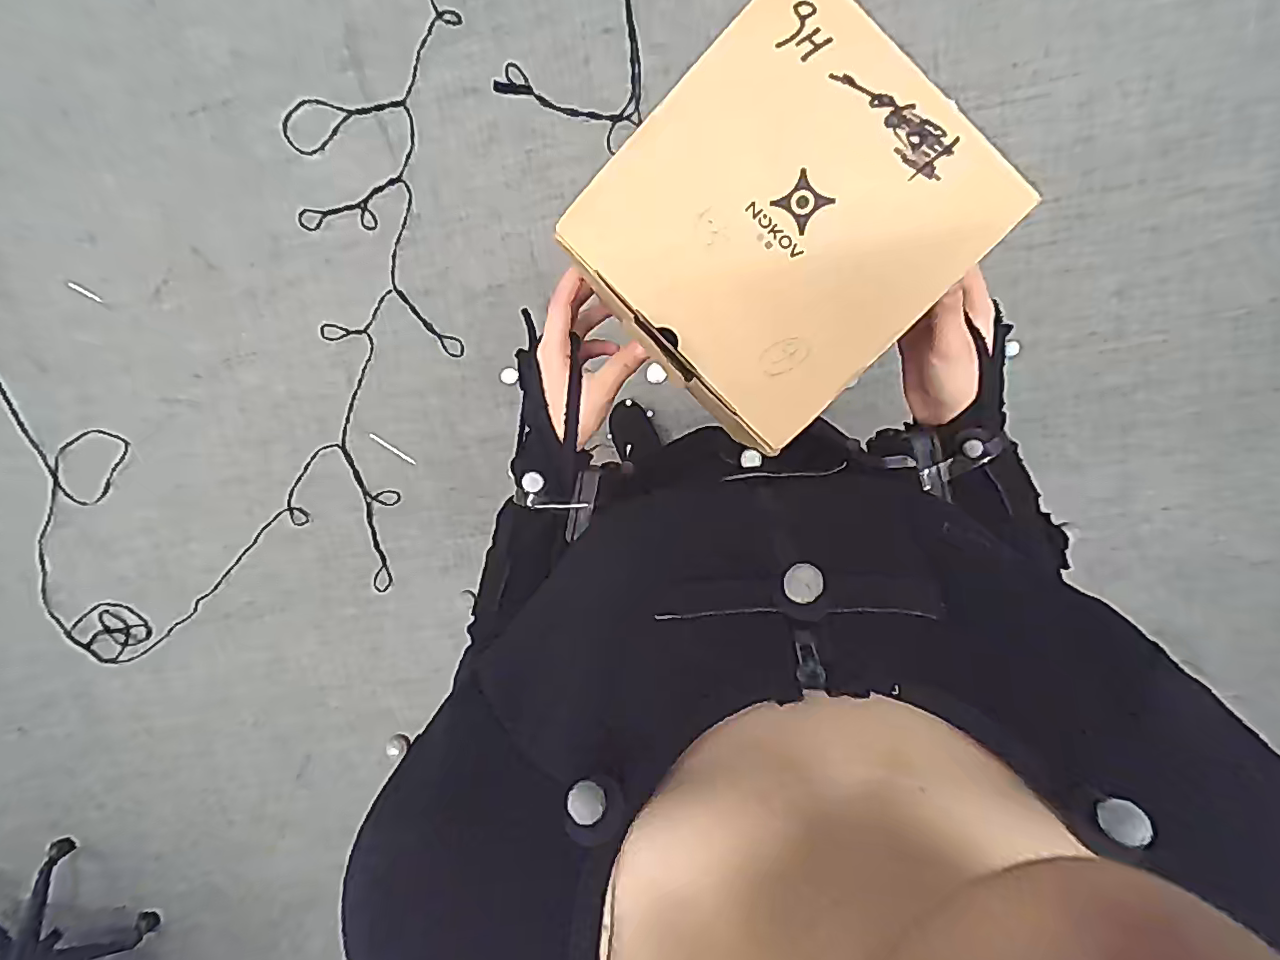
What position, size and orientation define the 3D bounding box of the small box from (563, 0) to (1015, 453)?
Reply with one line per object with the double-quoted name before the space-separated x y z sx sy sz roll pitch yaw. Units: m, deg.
"small box" 0.081 -0.138 0.360 0.168 0.176 0.179 45 98 -1
